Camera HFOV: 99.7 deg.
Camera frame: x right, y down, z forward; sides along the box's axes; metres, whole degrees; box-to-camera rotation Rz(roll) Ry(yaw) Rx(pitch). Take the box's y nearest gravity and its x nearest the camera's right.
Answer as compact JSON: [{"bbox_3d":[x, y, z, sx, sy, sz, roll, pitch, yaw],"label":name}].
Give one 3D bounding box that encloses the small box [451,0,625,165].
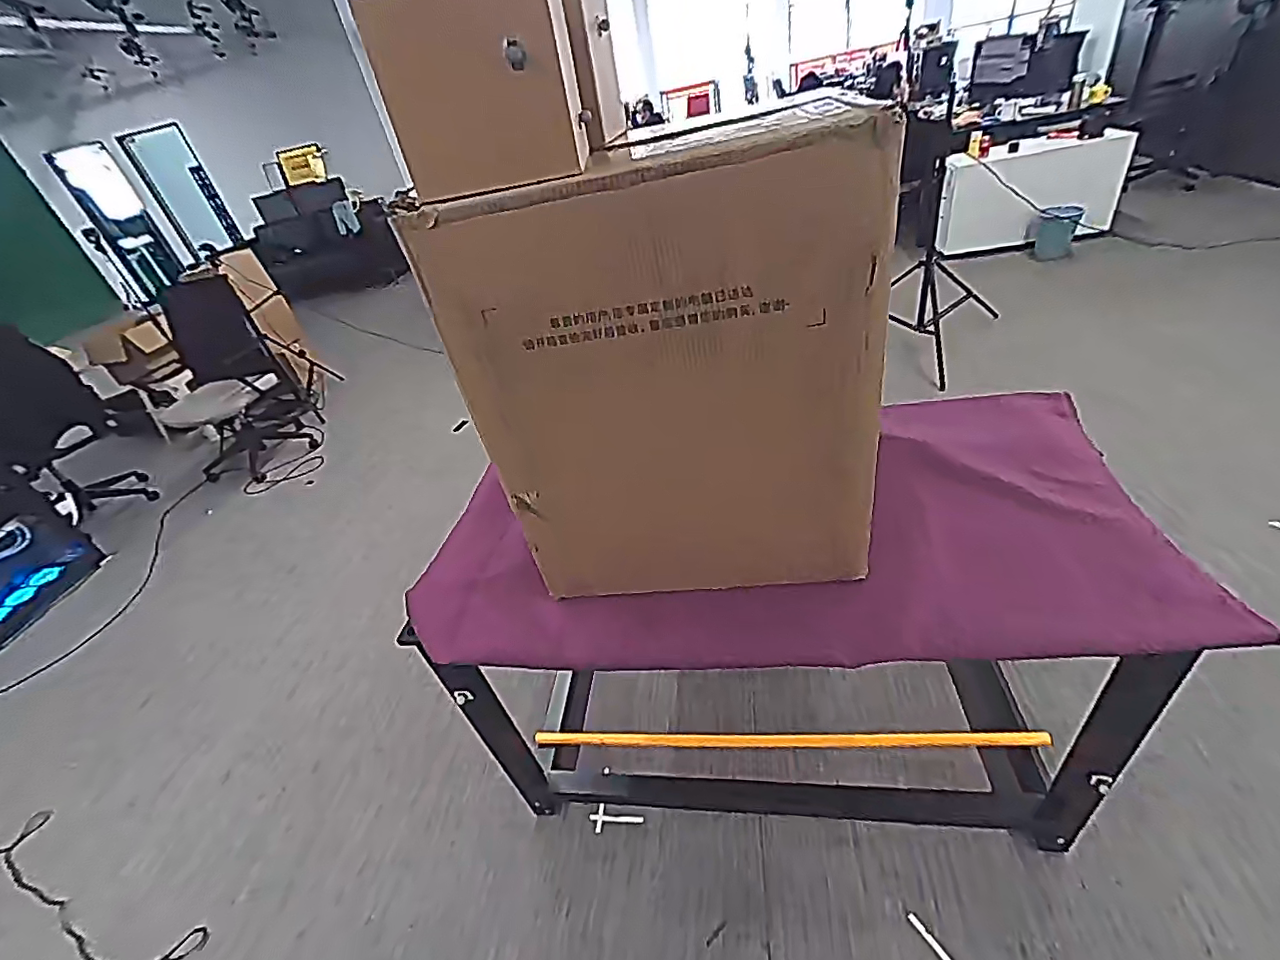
[{"bbox_3d":[-0.124,-0.547,0.745,0.168,0.176,0.179,-2,37,12],"label":"small box"}]
